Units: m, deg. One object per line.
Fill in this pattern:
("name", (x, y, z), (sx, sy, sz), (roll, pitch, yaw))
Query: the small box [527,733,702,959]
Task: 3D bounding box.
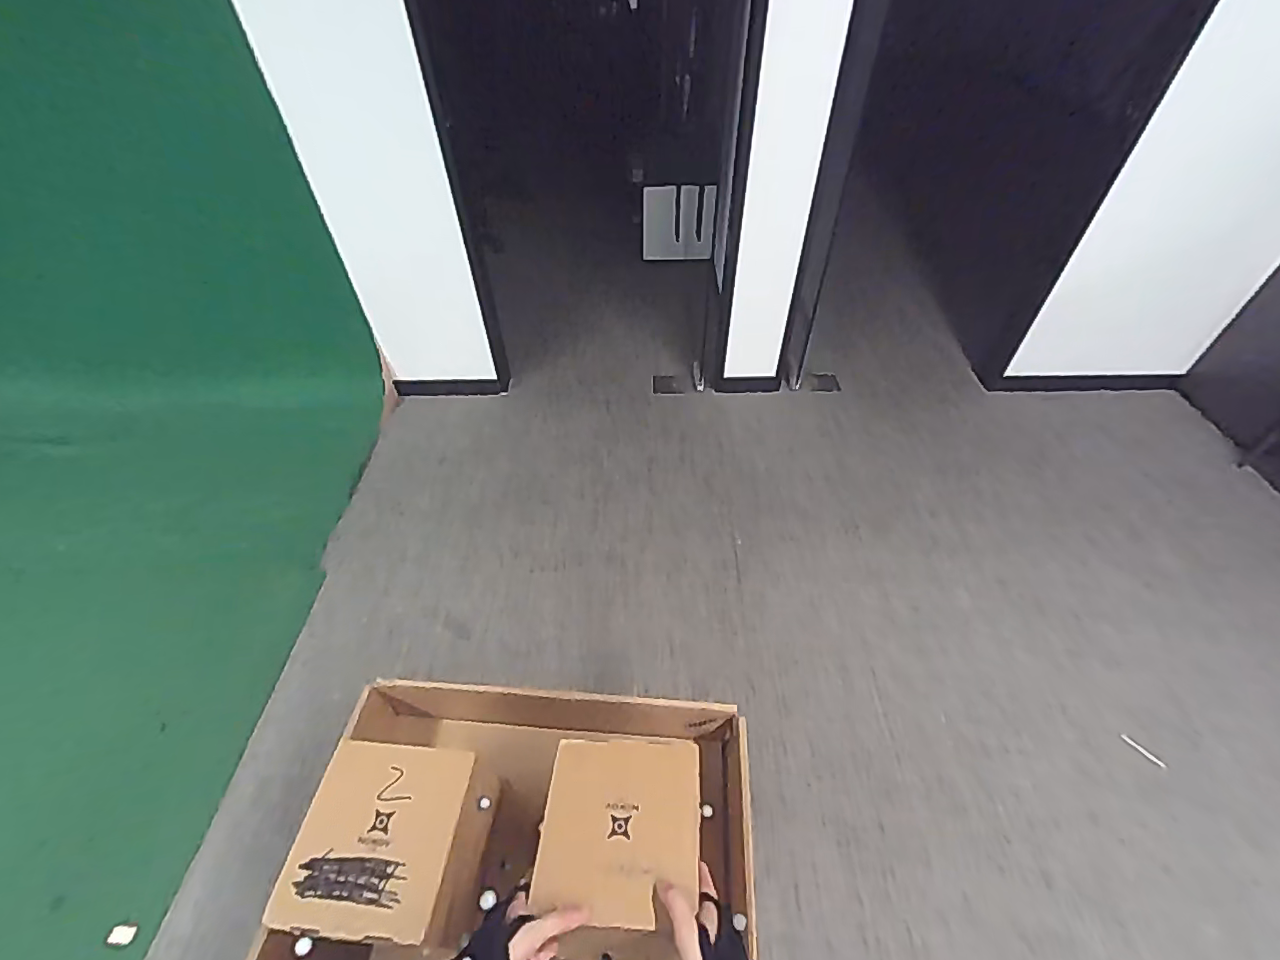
("small box", (-0.015, 0.419, 0.619), (0.168, 0.176, 0.179), (-1, 39, 7))
